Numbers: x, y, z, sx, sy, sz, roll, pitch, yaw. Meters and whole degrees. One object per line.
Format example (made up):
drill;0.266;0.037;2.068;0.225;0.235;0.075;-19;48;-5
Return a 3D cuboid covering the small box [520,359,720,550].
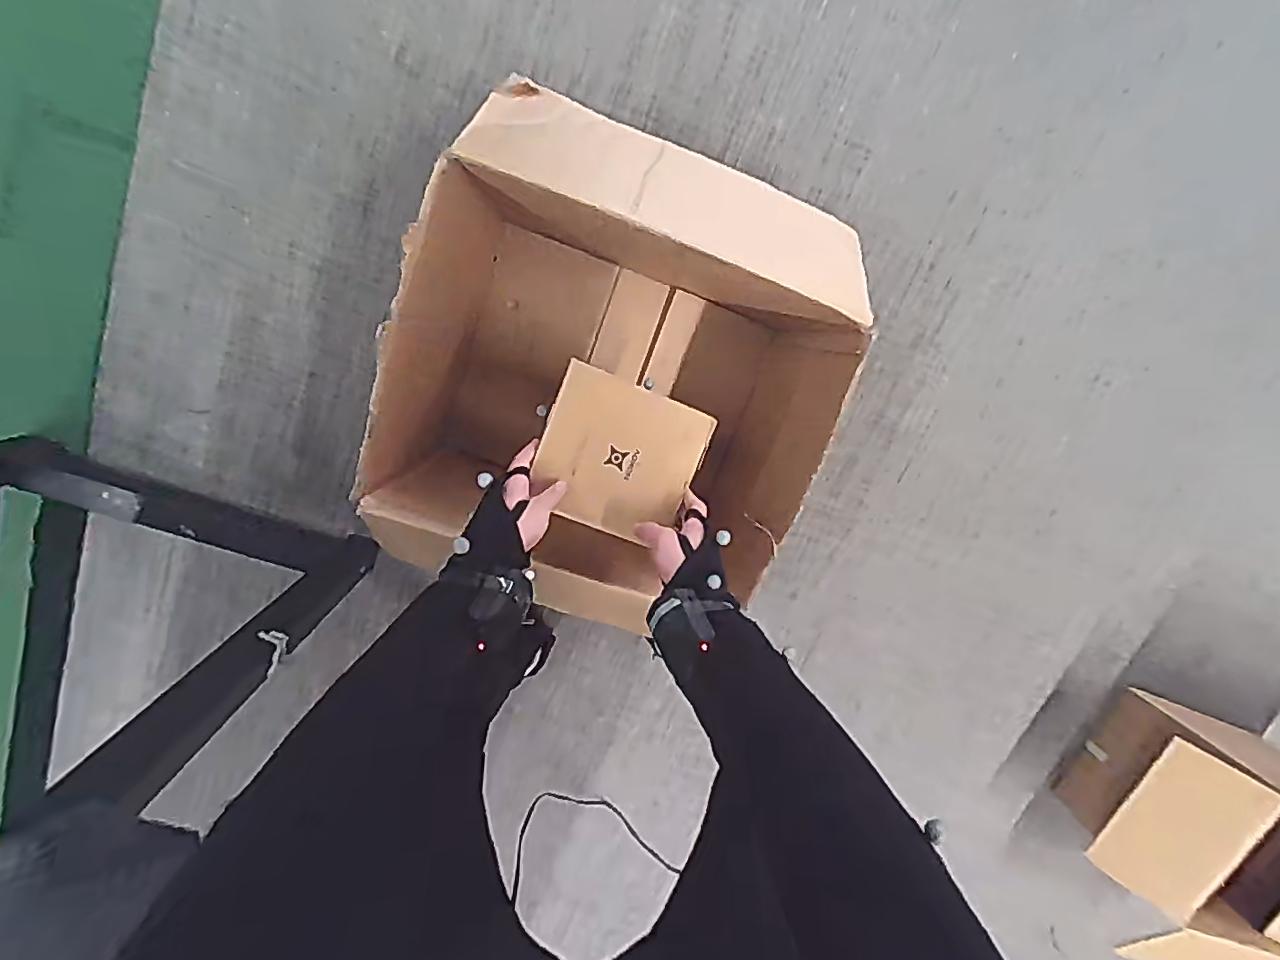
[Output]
small box;-0.031;-0.037;0.659;0.179;0.176;0.168;20;95;-10
